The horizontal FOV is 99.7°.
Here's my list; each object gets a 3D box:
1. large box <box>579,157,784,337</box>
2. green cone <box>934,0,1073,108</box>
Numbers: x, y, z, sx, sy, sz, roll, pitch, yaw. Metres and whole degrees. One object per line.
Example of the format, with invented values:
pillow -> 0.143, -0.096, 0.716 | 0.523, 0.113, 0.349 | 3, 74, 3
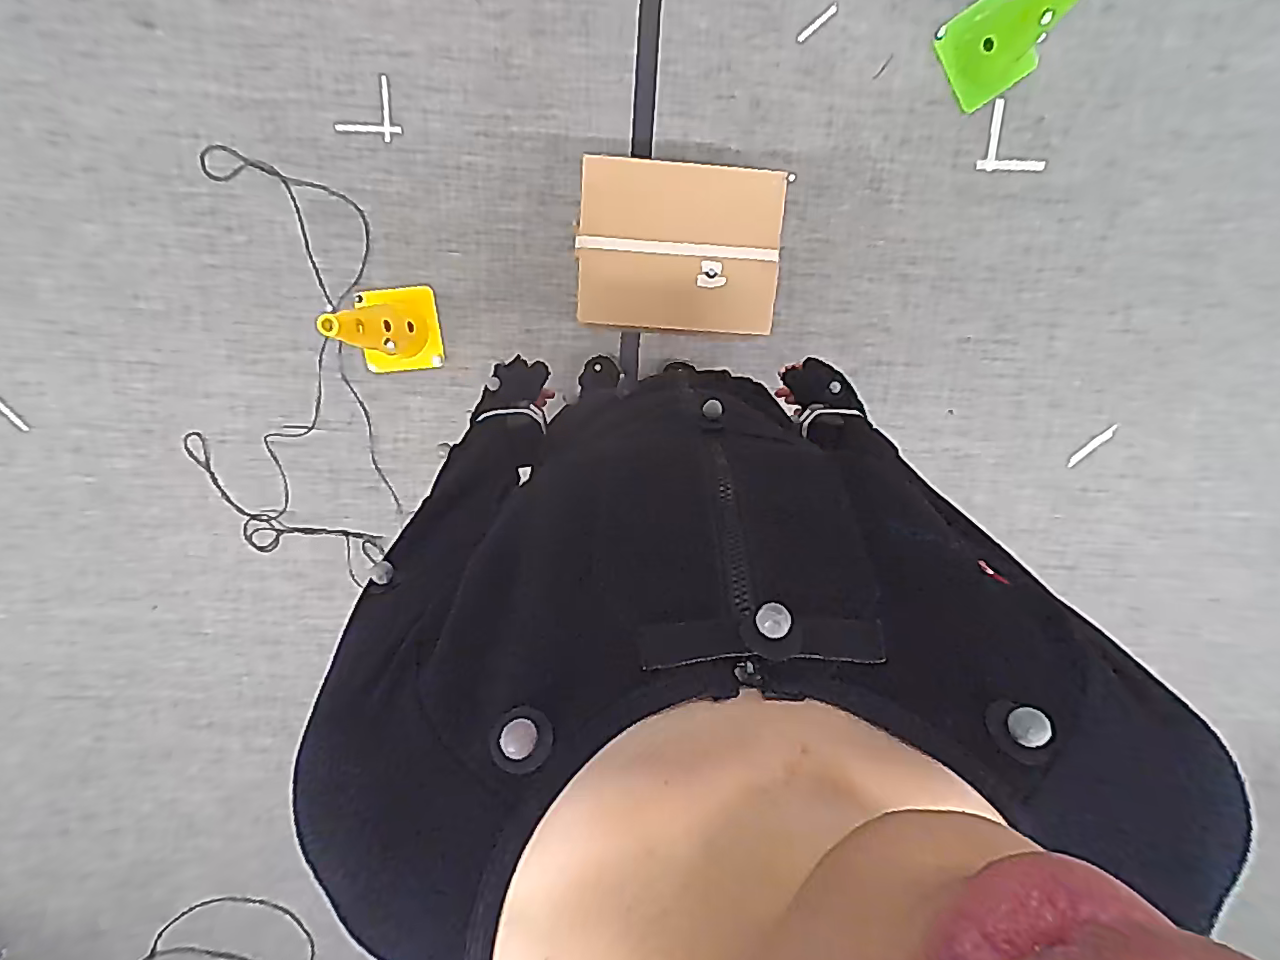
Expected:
large box -> 0.071, -0.498, 1.230 | 0.408, 0.320, 0.320 | 3, 103, -4
green cone -> 0.820, -0.973, 1.099 | 0.202, 0.368, 0.200 | -35, 103, 5
